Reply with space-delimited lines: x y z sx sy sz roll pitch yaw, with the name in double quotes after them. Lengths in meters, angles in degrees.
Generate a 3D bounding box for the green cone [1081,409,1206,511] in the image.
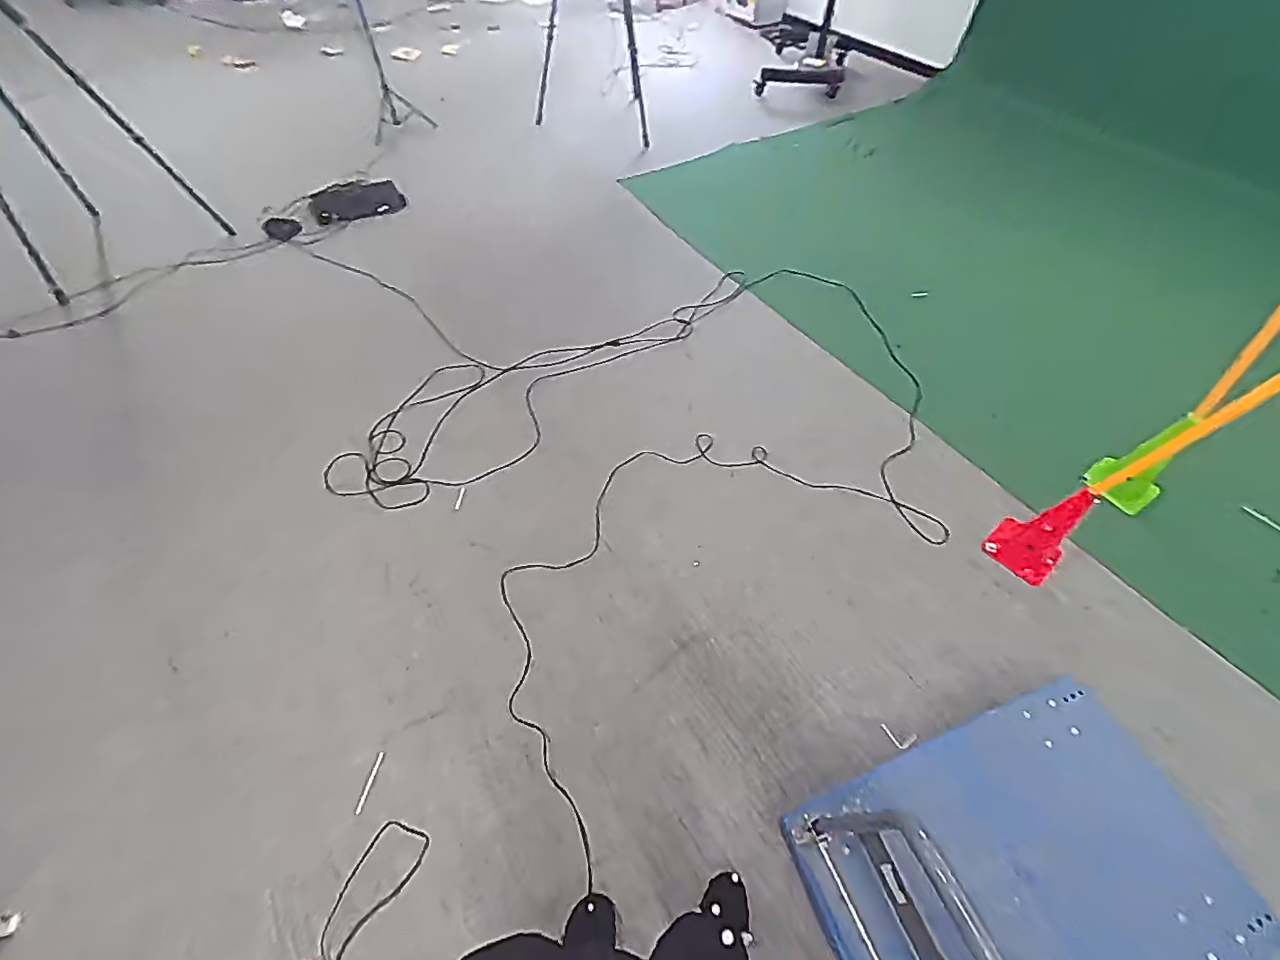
1.745 -0.095 1.828 0.202 0.368 0.200 -28 58 -21 "green cone"
